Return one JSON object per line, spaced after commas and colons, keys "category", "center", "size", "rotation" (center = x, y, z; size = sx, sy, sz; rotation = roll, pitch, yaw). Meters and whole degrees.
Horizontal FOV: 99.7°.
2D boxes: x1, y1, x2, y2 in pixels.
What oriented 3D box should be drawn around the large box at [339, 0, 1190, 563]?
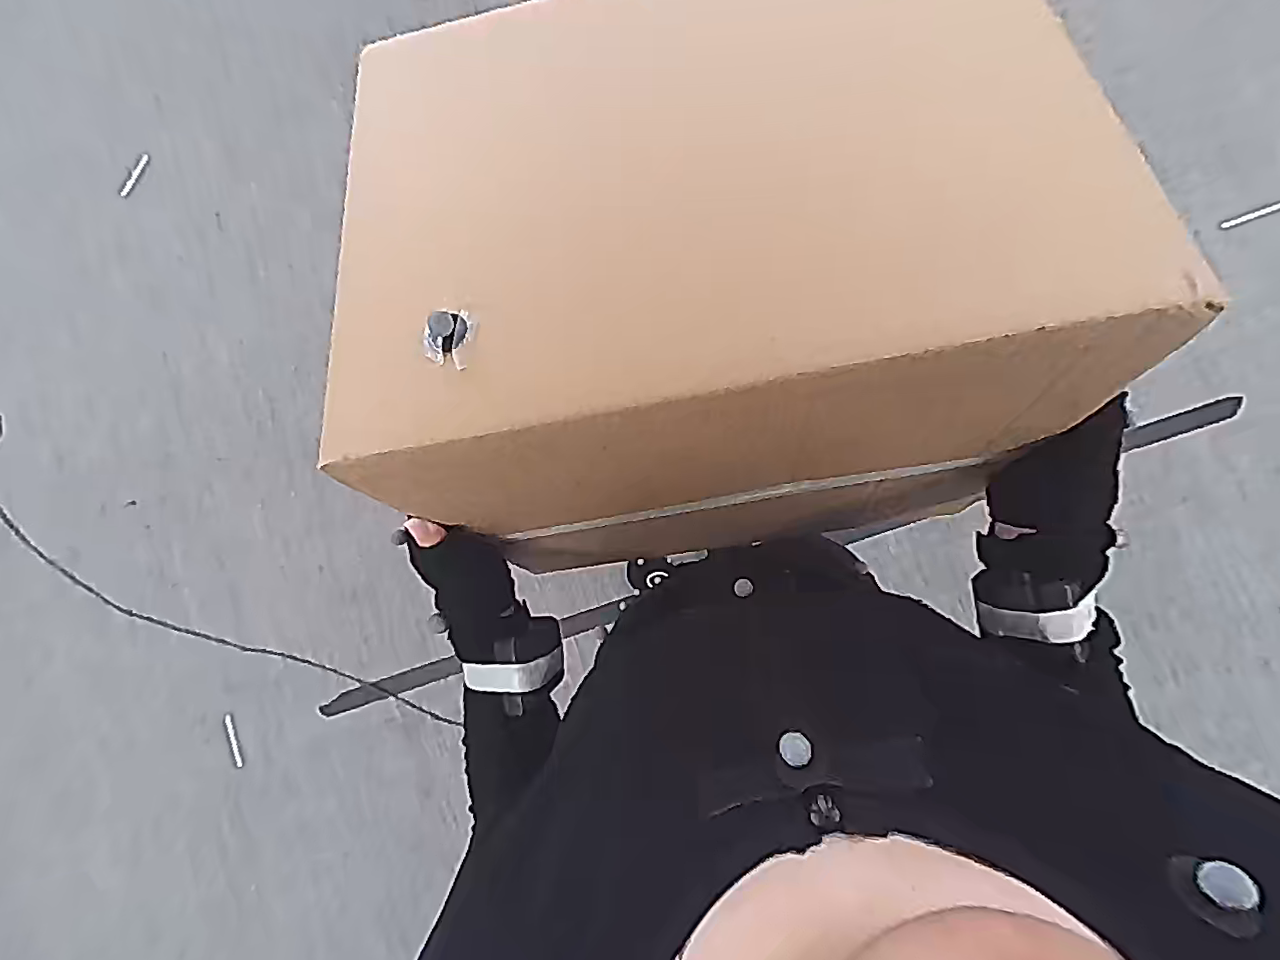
{"category": "large box", "center": [0.045, -0.139, 0.441], "size": [0.408, 0.320, 0.320], "rotation": [-9, 70, 7]}
